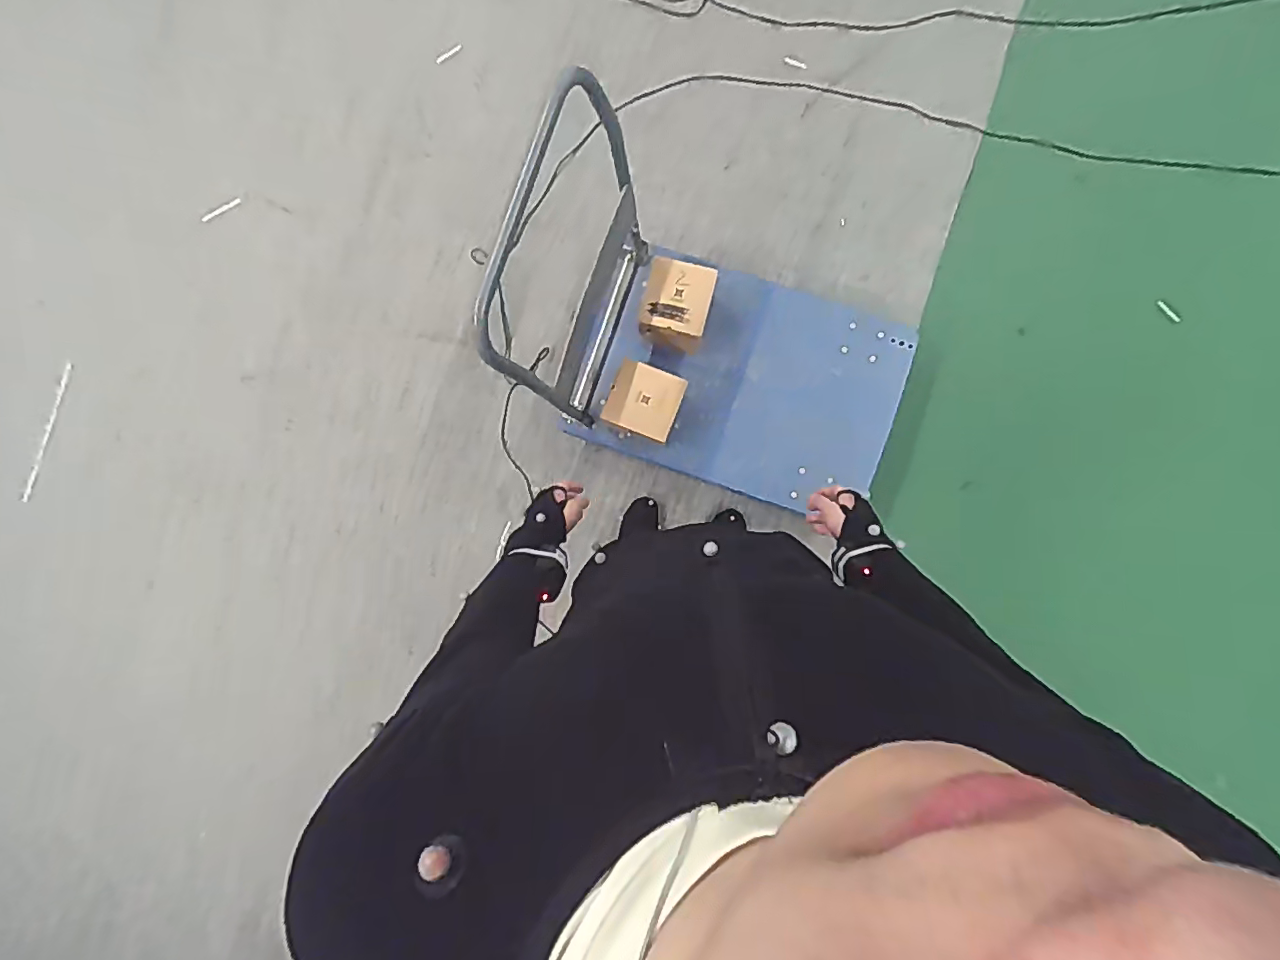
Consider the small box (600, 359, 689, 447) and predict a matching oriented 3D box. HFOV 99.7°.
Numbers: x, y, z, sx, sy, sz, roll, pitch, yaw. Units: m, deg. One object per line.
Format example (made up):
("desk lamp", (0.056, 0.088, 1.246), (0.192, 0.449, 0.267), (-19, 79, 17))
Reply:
("small box", (0.014, -0.191, 1.408), (0.179, 0.176, 0.168), (22, 90, 2))
